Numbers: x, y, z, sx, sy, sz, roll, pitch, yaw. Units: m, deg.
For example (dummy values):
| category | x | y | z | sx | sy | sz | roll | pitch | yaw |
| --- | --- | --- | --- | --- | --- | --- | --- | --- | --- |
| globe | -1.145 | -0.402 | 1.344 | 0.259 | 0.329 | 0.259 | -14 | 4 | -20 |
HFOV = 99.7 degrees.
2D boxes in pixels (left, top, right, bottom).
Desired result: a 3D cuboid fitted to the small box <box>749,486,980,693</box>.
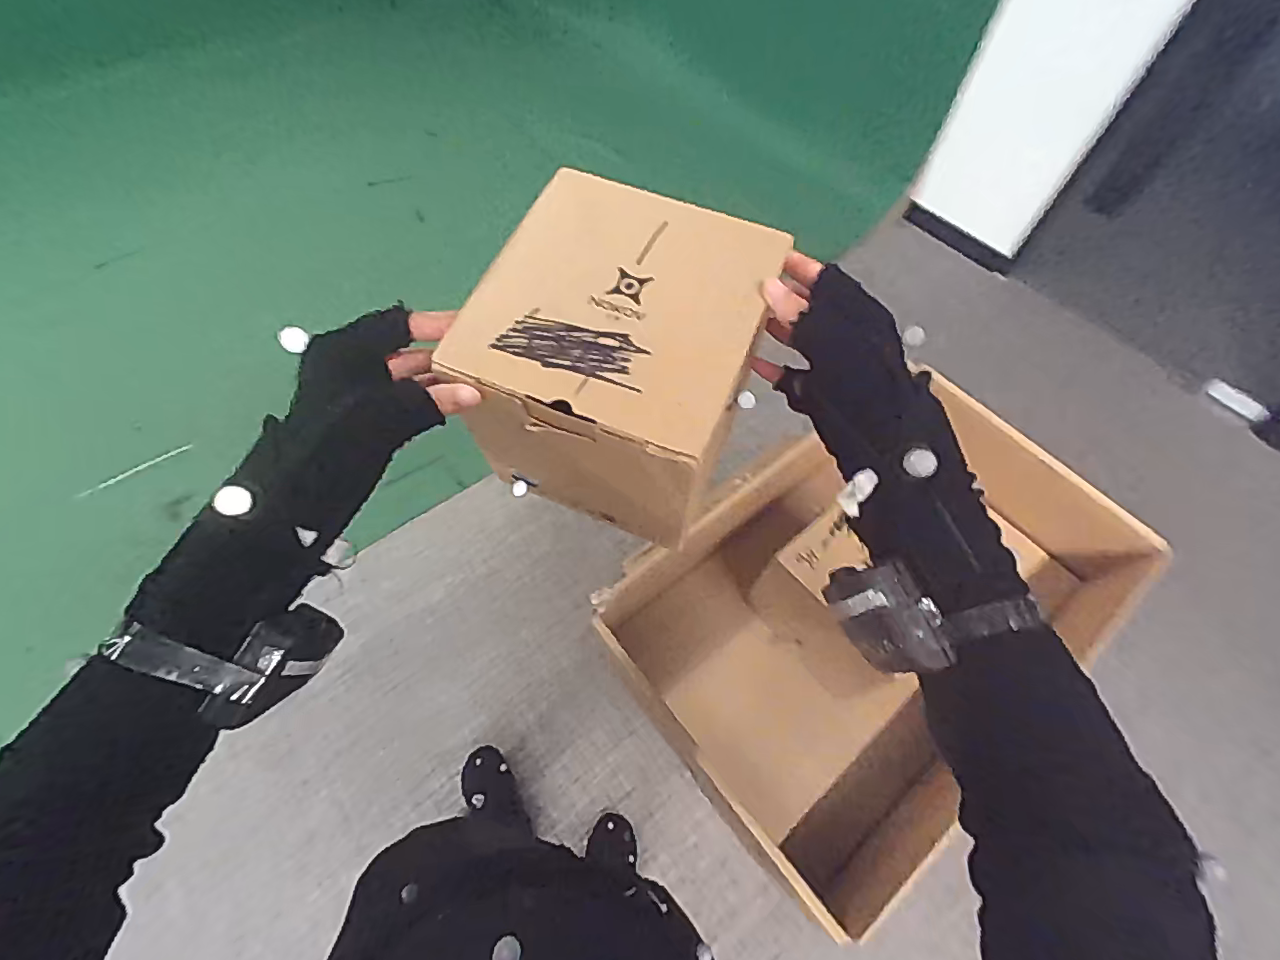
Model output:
| category | x | y | z | sx | sy | sz | roll | pitch | yaw |
| --- | --- | --- | --- | --- | --- | --- | --- | --- | --- |
| small box | 0.266 | 0.147 | 0.682 | 0.168 | 0.176 | 0.179 | -34 | 68 | -21 |
